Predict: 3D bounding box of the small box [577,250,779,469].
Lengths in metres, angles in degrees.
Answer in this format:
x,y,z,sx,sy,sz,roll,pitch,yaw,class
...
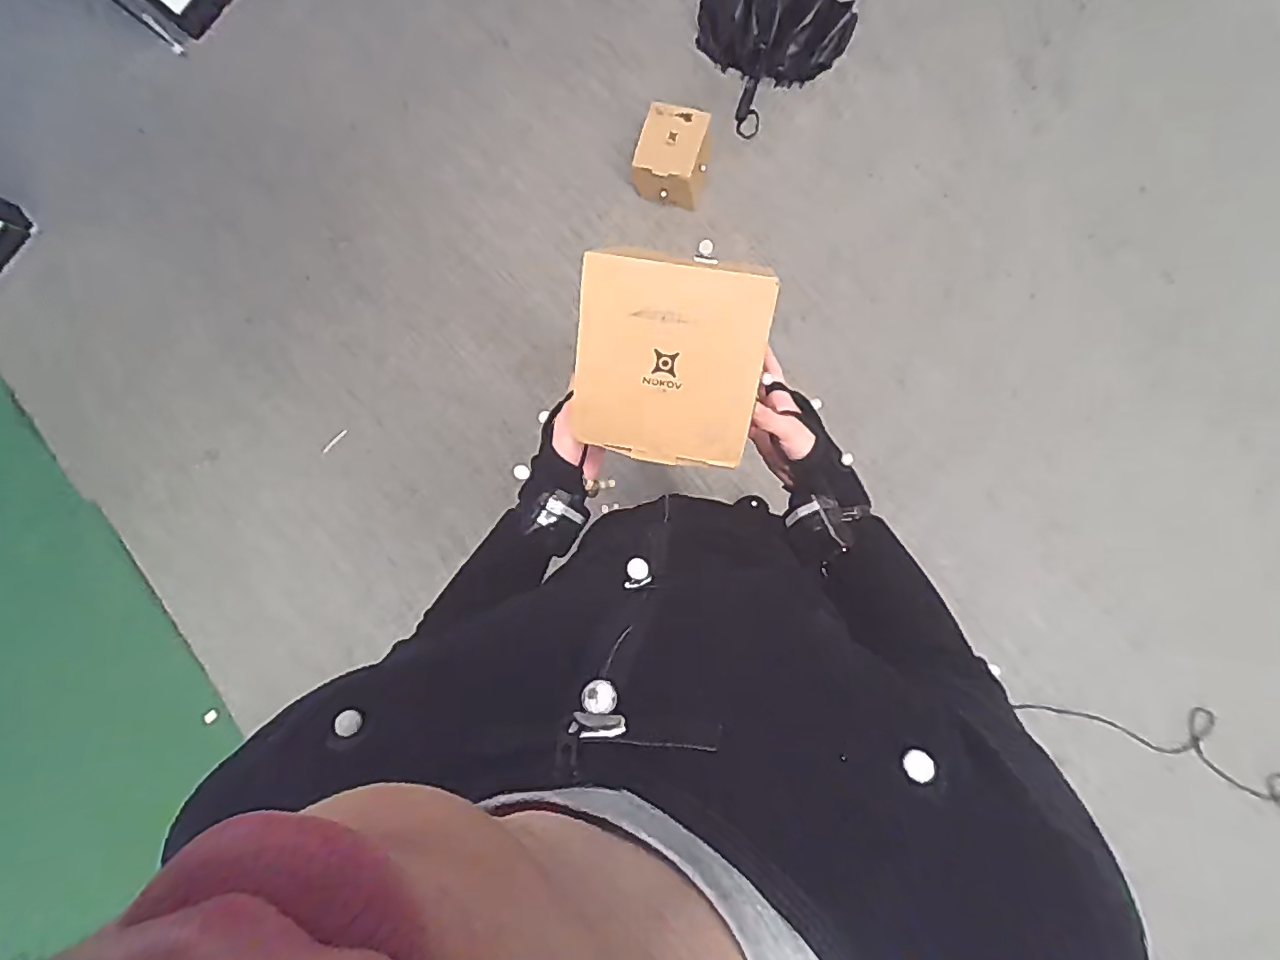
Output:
x,y,z,sx,sy,sz,roll,pitch,yaw,class
0.039,-0.134,0.560,0.168,0.176,0.179,9,115,5,small box
